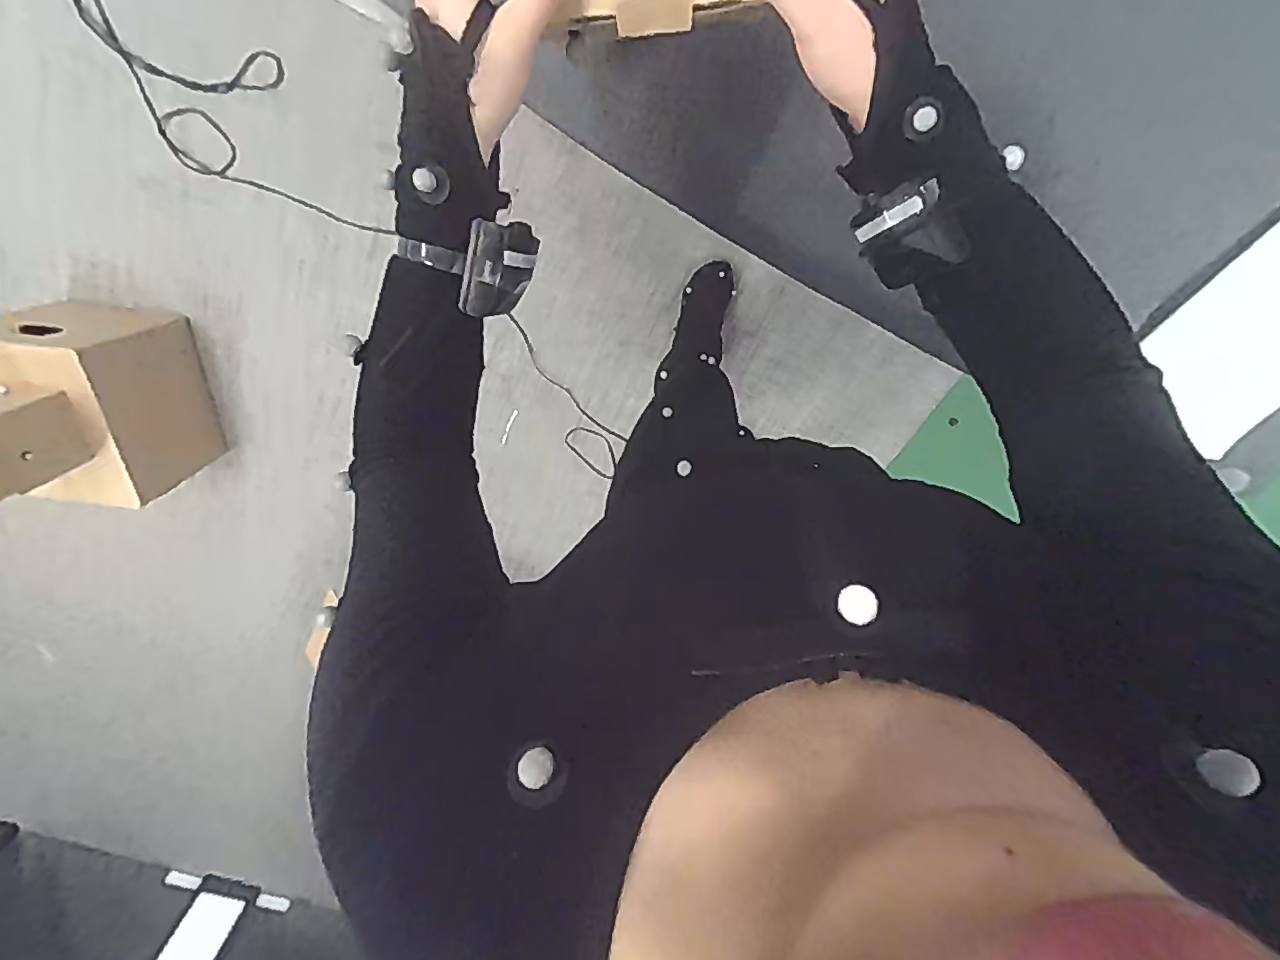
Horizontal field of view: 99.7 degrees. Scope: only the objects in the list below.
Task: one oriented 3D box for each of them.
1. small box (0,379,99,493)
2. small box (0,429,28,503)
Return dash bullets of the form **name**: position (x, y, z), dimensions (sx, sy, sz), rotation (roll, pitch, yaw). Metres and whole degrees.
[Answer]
- **small box**: position (-1.328, -0.097, 1.153), dimensions (0.168, 0.176, 0.179), rotation (7, 119, -2)
- **small box**: position (-1.333, -0.028, 1.006), dimensions (0.168, 0.176, 0.179), rotation (8, 120, -2)
